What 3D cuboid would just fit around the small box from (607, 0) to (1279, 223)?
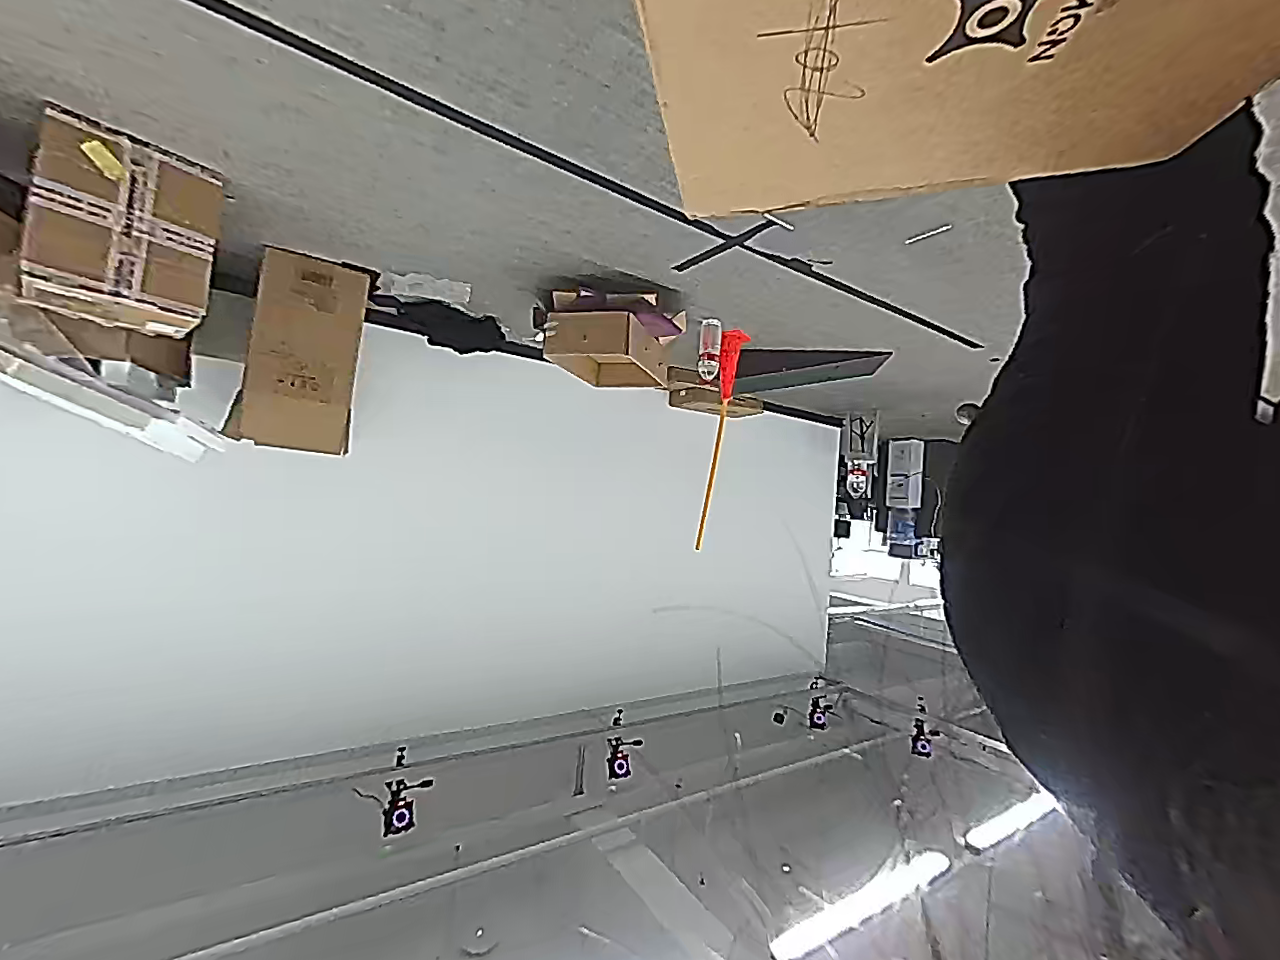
[{"bbox_3d":[0.079,-0.187,0.123,0.179,0.176,0.168,-1,180,12],"label":"small box"}]
